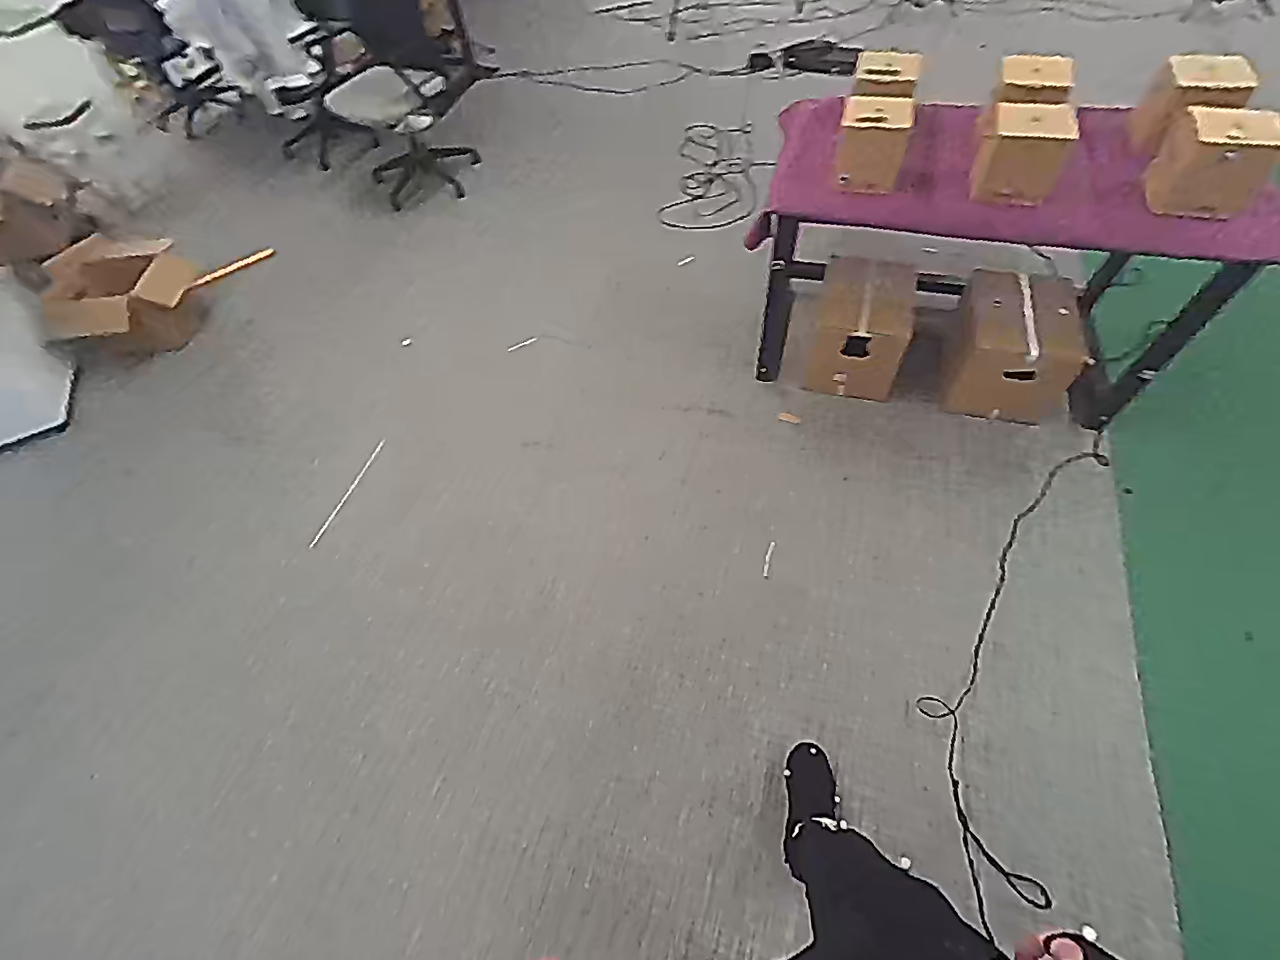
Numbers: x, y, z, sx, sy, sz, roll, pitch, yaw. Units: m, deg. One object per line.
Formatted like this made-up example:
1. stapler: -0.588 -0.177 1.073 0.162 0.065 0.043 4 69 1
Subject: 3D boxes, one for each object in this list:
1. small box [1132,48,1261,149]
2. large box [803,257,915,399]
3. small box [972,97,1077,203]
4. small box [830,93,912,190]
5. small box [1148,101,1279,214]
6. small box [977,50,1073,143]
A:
1. small box: 1.426 -0.986 1.402 0.168 0.176 0.179 12 60 17
2. large box: 0.802 -0.561 1.999 0.320 0.320 0.408 12 58 14
3. small box: 0.958 -0.829 1.361 0.168 0.176 0.179 13 59 16
4. small box: 0.614 -0.905 1.449 0.168 0.176 0.179 12 57 14
5. small box: 1.338 -0.752 1.261 0.168 0.176 0.179 13 57 17
6. small box: 1.056 -1.049 1.494 0.168 0.176 0.179 14 61 15
